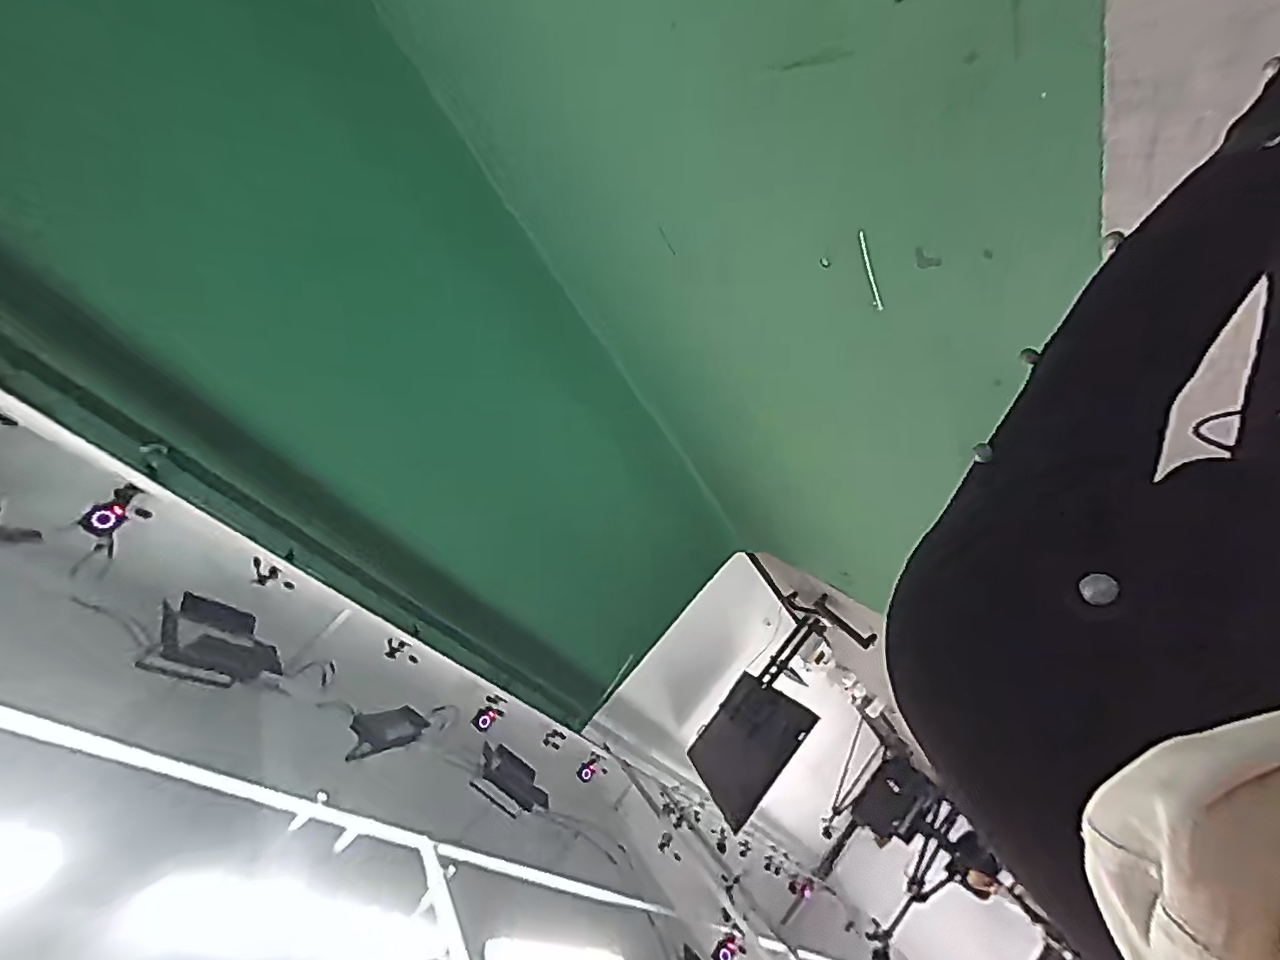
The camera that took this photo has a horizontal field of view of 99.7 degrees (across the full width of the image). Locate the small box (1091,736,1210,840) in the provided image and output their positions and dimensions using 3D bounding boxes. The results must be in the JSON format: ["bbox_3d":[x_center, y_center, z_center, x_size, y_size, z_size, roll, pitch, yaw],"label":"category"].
[{"bbox_3d":[1.346,0.809,1.429,0.168,0.176,0.179,33,165,42],"label":"small box"}]
